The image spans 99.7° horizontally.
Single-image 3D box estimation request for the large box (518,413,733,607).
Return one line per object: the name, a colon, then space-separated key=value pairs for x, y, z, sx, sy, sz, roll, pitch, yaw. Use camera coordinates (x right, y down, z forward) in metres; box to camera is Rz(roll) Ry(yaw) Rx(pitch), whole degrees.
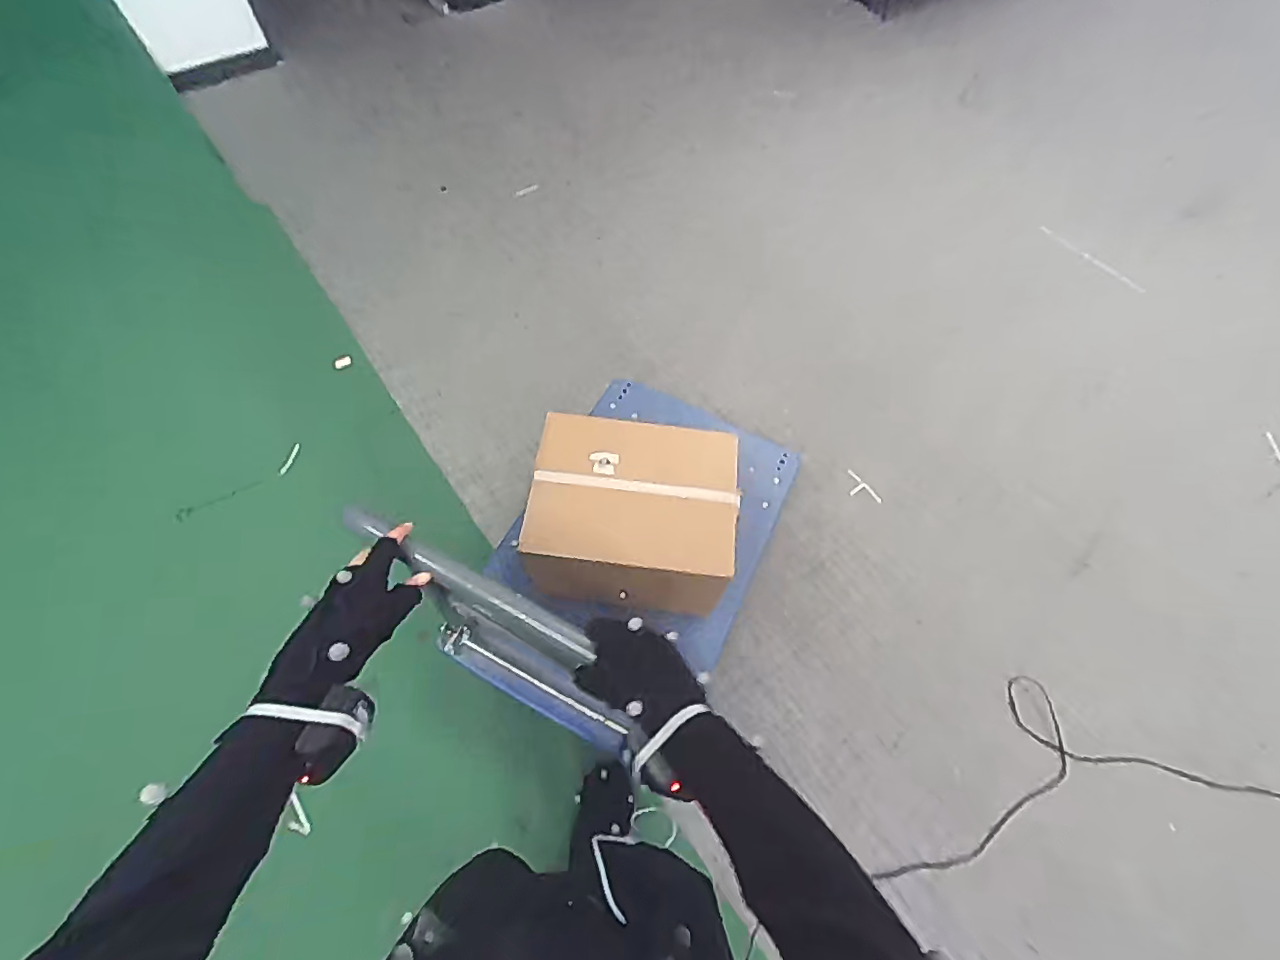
large box: x=-0.018 y=0.080 z=1.204 sx=0.408 sy=0.320 sz=0.320 roll=7 pitch=62 yaw=2
